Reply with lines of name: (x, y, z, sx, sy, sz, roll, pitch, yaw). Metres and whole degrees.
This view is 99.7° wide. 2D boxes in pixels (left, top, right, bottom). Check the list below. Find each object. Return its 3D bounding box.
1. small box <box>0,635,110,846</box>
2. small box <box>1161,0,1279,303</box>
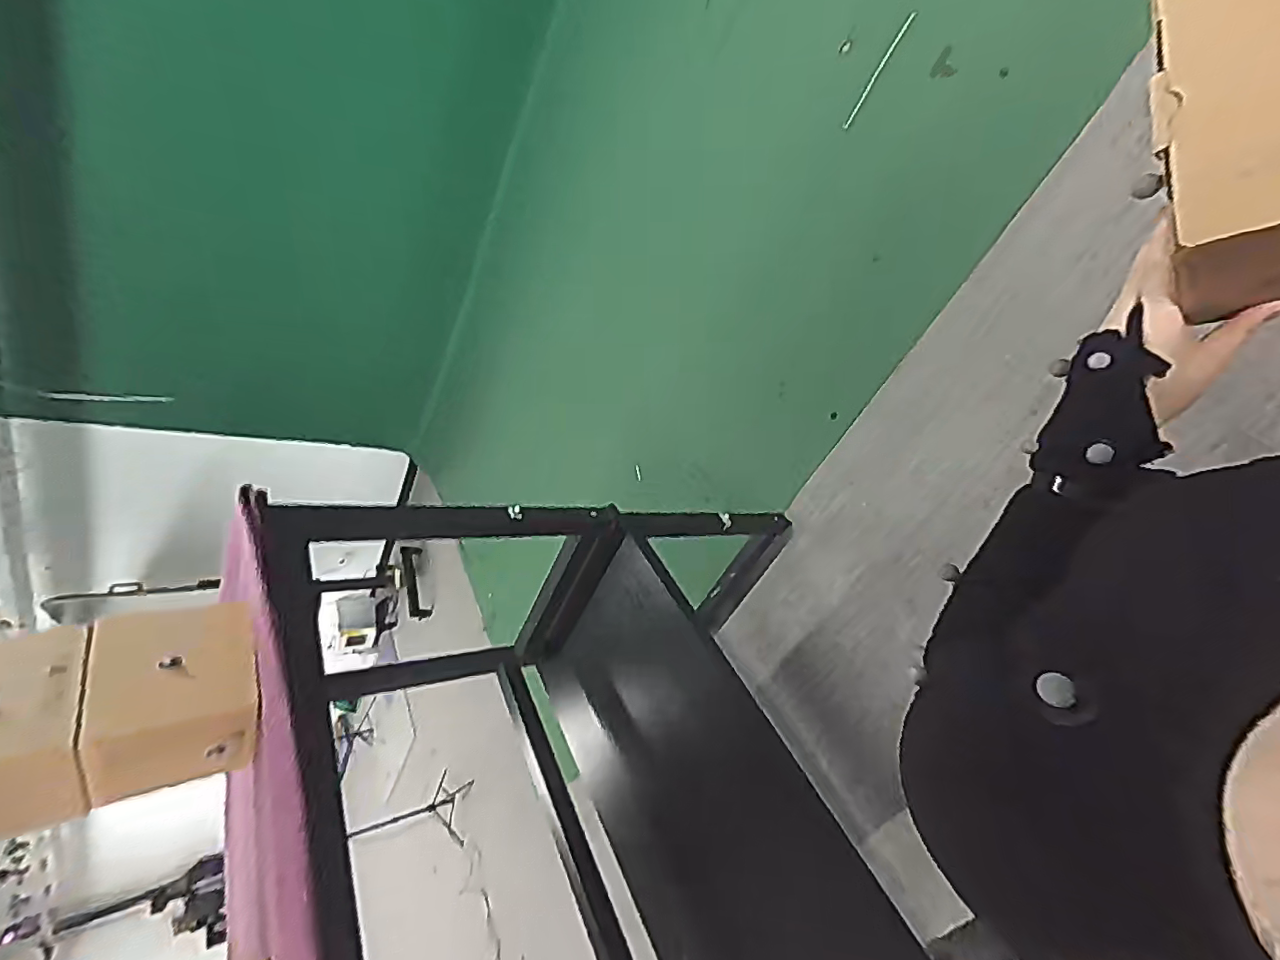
small box: (-0.734, 0.303, 0.621, 0.168, 0.176, 0.179, 54, 129, 35)
small box: (0.408, -0.212, 0.287, 0.179, 0.176, 0.168, -3, 85, 46)
